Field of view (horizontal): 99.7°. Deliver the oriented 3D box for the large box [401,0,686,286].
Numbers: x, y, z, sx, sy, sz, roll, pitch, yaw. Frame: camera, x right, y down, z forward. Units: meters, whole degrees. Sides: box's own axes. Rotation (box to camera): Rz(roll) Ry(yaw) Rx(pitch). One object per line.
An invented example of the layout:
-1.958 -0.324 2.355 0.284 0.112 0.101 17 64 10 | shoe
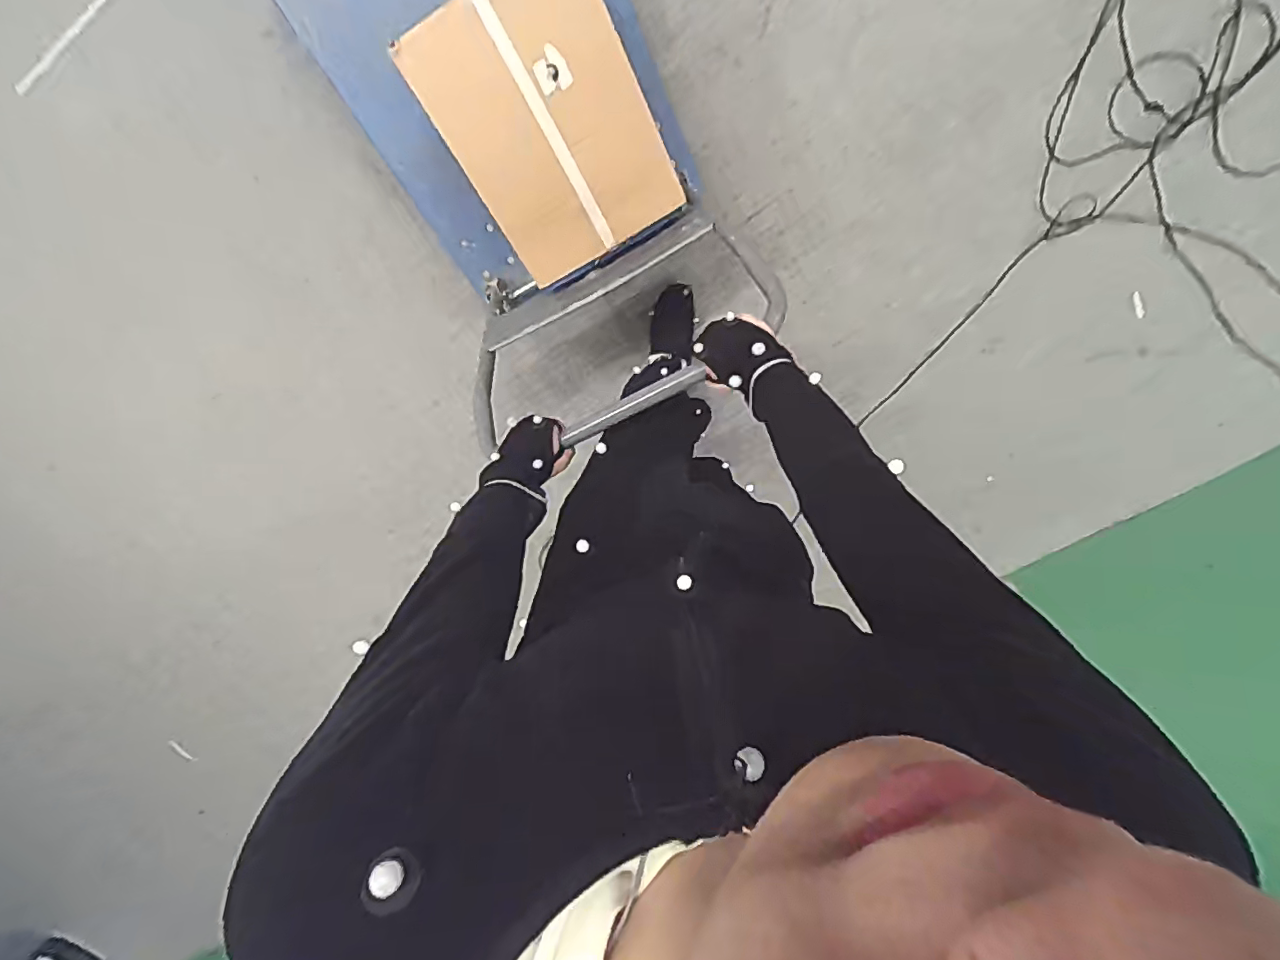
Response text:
-0.153 -0.656 1.021 0.320 0.320 0.408 -27 124 11 | large box
